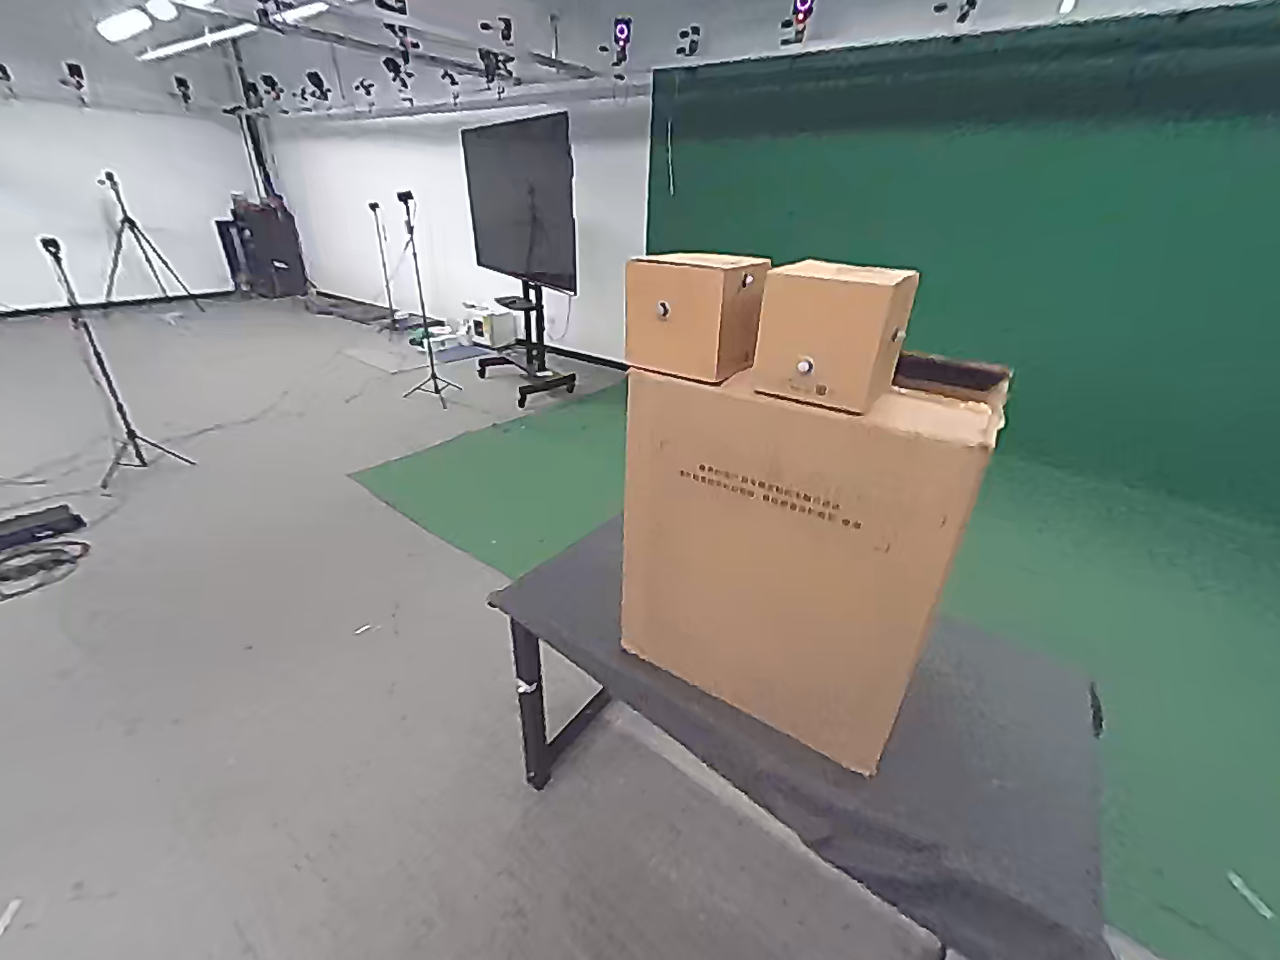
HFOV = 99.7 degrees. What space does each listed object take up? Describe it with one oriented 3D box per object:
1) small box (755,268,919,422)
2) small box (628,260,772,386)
[{"bbox_3d":[0.281,-0.202,0.787,0.168,0.176,0.179,20,33,29],"label":"small box"},{"bbox_3d":[0.093,-0.262,0.887,0.179,0.176,0.168,19,32,30],"label":"small box"}]
